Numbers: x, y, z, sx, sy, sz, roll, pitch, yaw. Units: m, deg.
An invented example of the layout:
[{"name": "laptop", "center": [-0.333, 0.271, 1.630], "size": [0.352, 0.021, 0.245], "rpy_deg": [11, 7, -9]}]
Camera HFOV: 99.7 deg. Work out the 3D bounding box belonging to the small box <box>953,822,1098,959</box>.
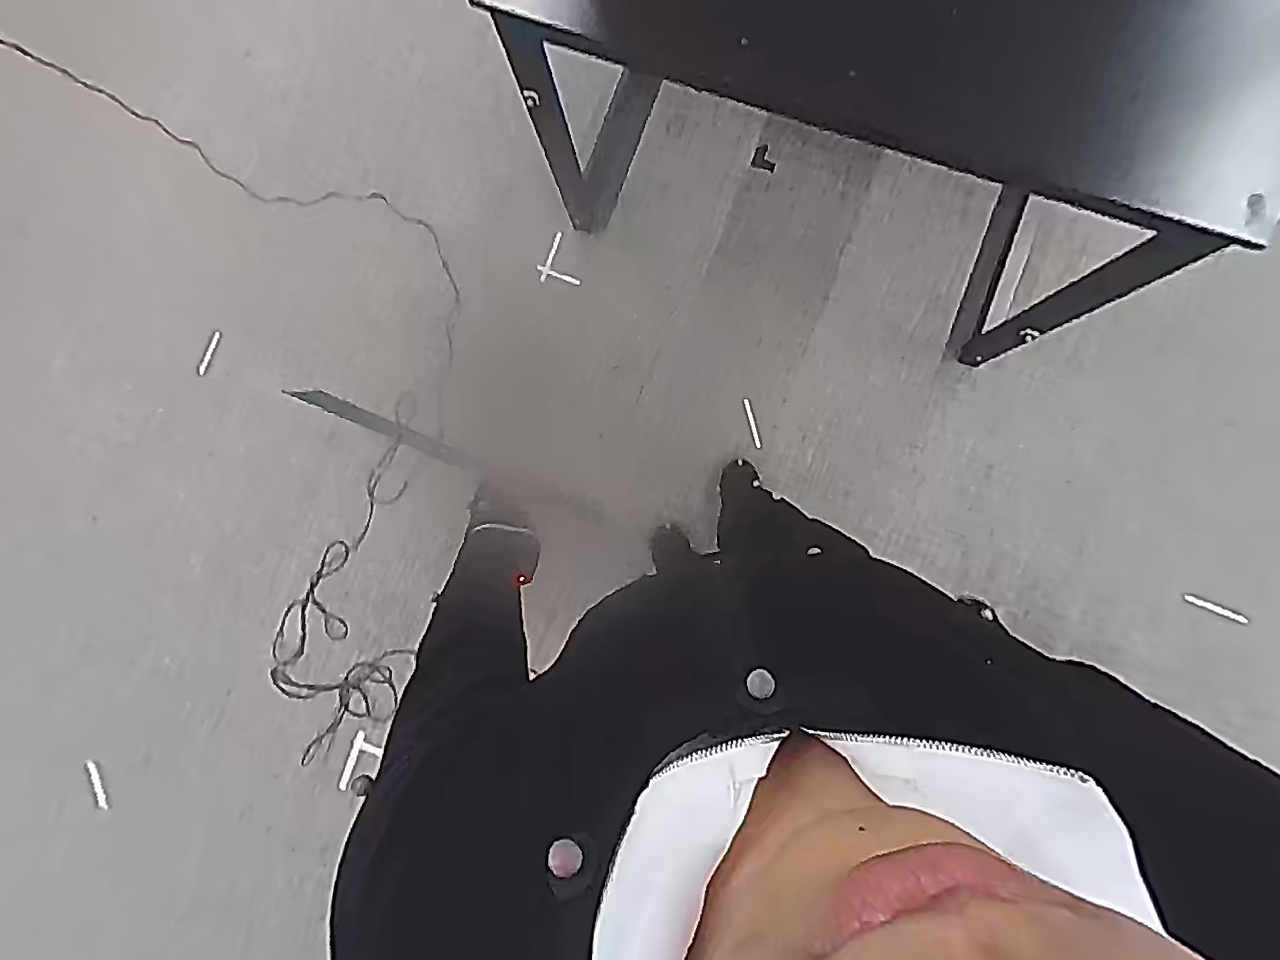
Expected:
[{"name": "small box", "center": [0.805, 0.873, 1.151], "size": [0.179, 0.176, 0.168], "rpy_deg": [16, 92, 5]}]
